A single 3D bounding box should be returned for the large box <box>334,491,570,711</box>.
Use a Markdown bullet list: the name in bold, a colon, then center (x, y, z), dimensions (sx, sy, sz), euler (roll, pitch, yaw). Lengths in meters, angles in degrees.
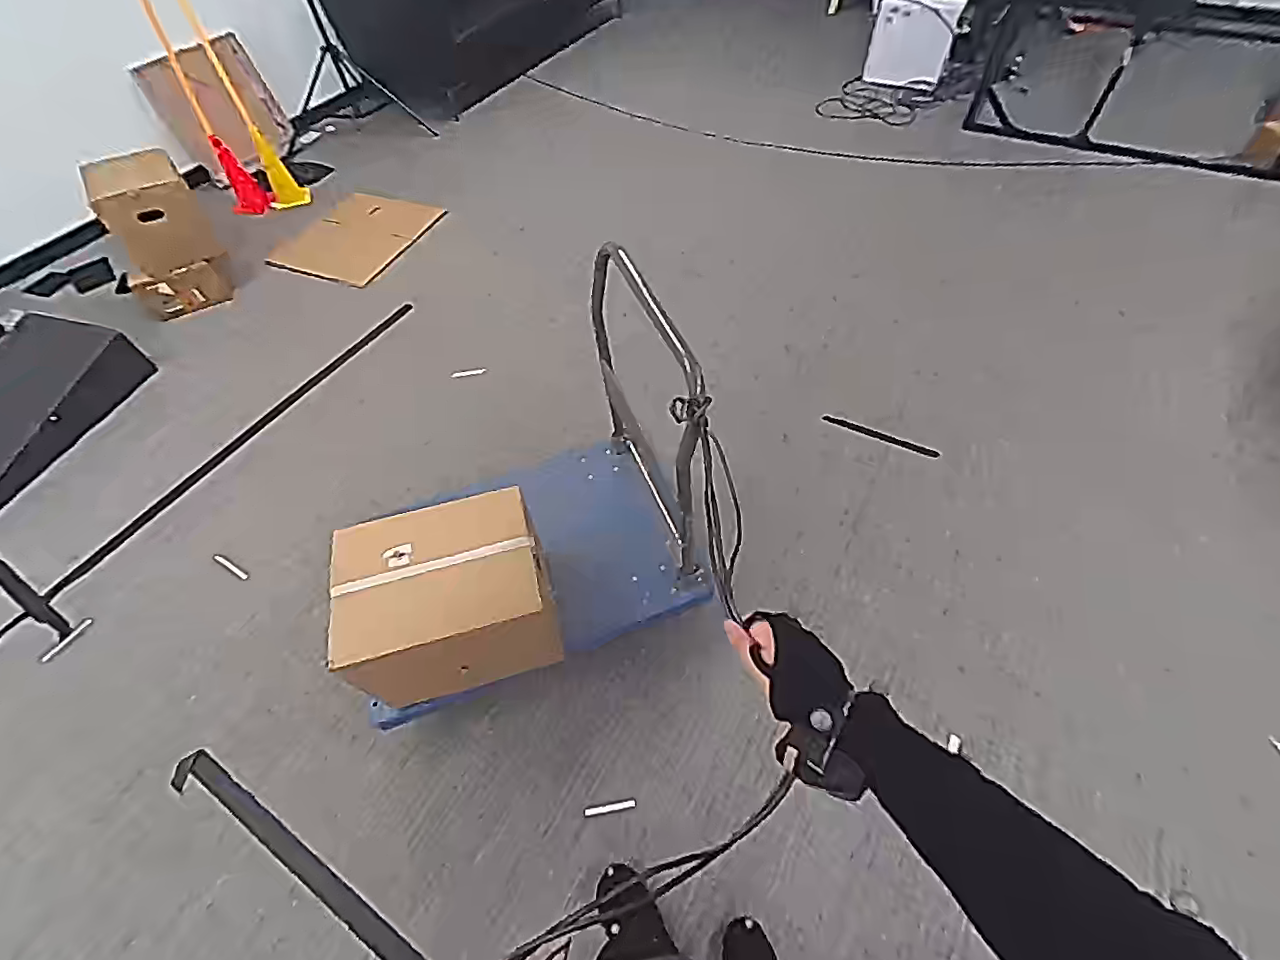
- **large box**: center (-0.403, 0.276, 1.216), dimensions (0.408, 0.320, 0.320), euler (-15, 54, -7)
